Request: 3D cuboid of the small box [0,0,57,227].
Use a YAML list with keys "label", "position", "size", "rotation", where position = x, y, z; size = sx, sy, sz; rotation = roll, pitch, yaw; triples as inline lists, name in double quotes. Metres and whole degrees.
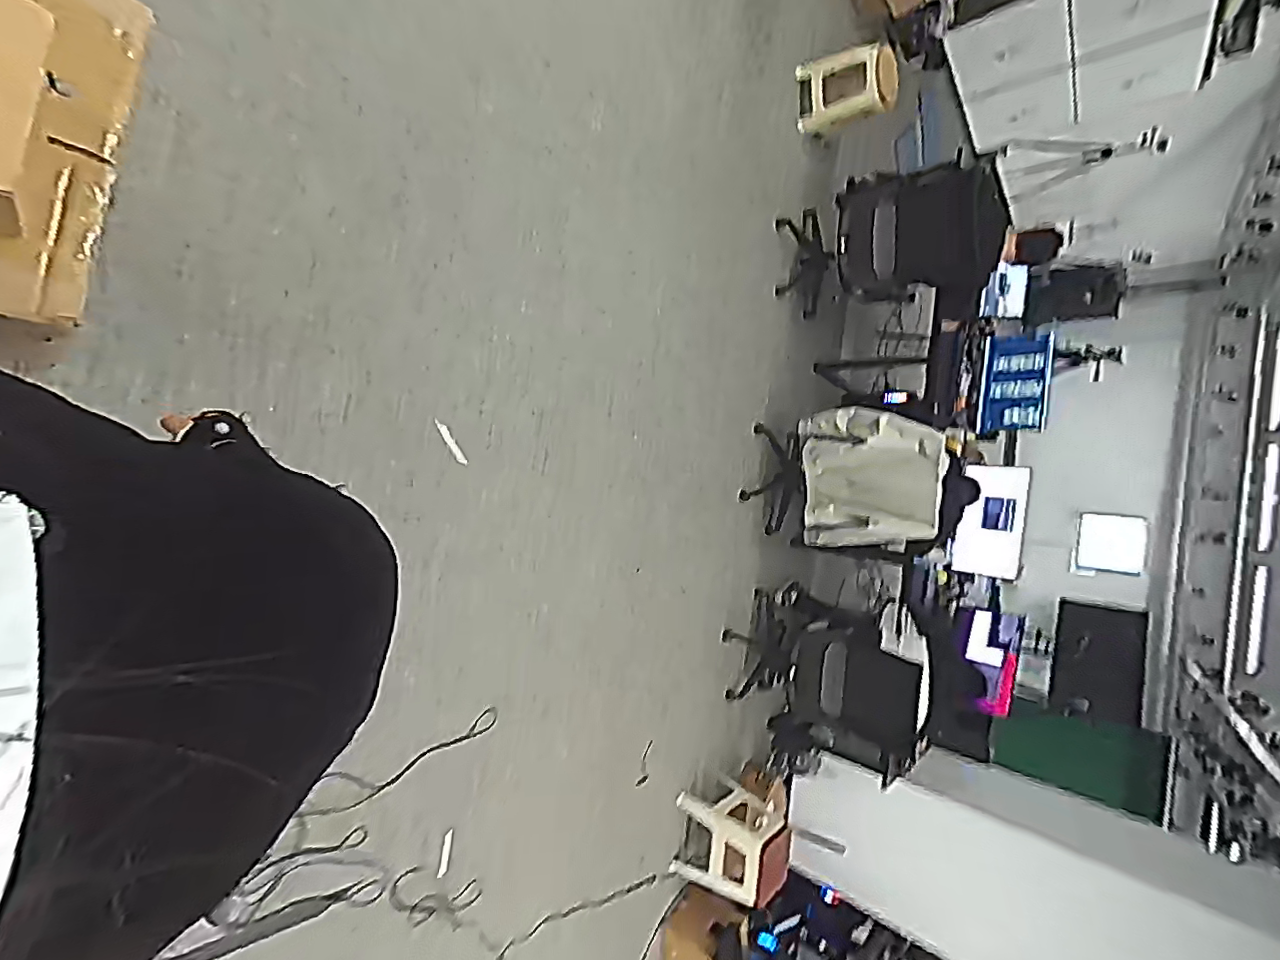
- label: "small box"
  position: [-0.653, -0.358, 0.476]
  size: [0.168, 0.176, 0.179]
  rotation: [12, 86, -47]
